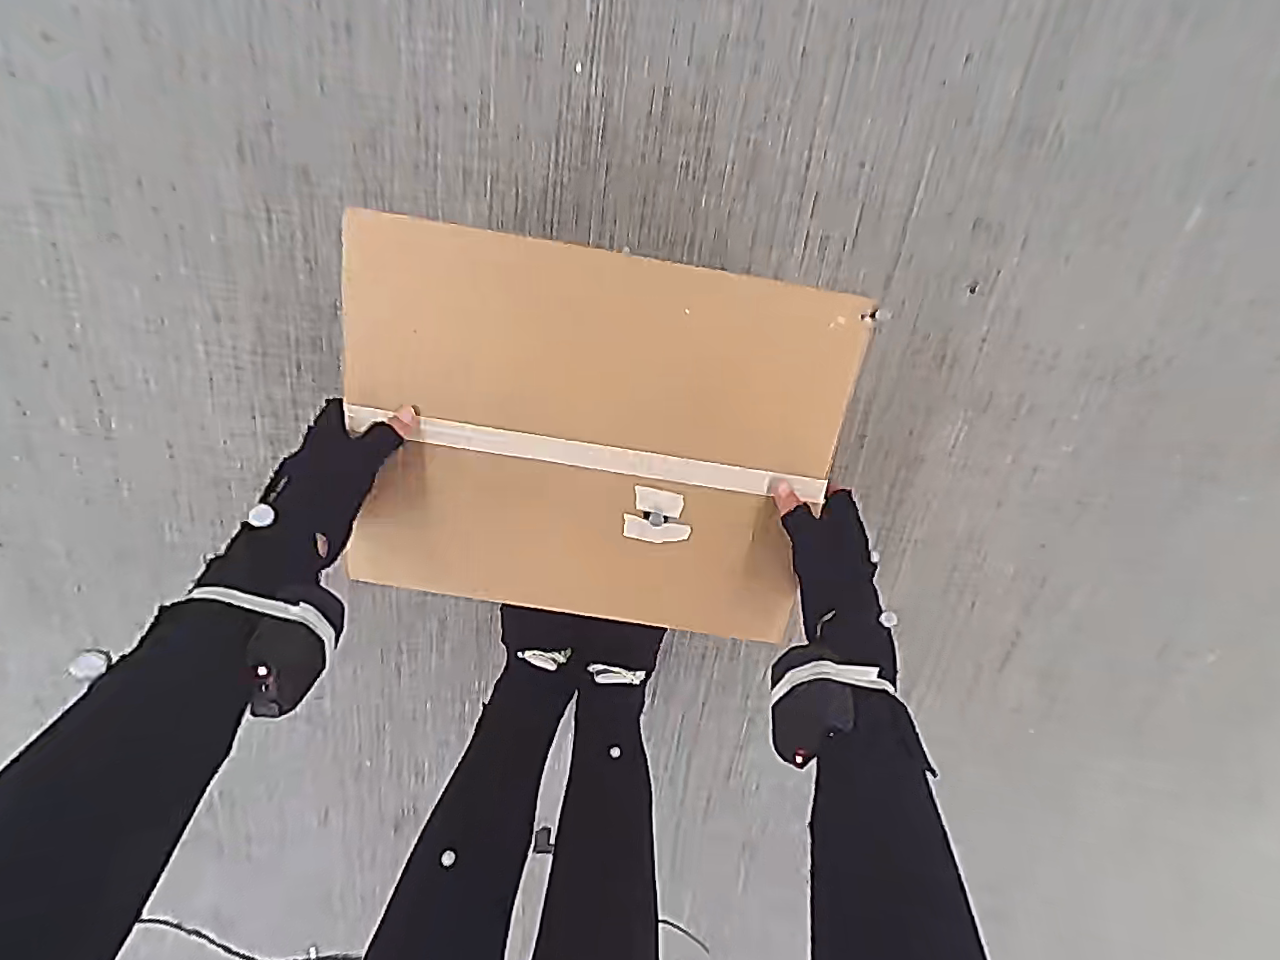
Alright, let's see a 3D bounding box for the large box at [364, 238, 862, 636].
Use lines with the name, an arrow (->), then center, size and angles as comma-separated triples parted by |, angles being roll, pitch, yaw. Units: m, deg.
large box -> -0.039, -0.063, 0.610 | 0.408, 0.320, 0.320 | 8, 108, -2
